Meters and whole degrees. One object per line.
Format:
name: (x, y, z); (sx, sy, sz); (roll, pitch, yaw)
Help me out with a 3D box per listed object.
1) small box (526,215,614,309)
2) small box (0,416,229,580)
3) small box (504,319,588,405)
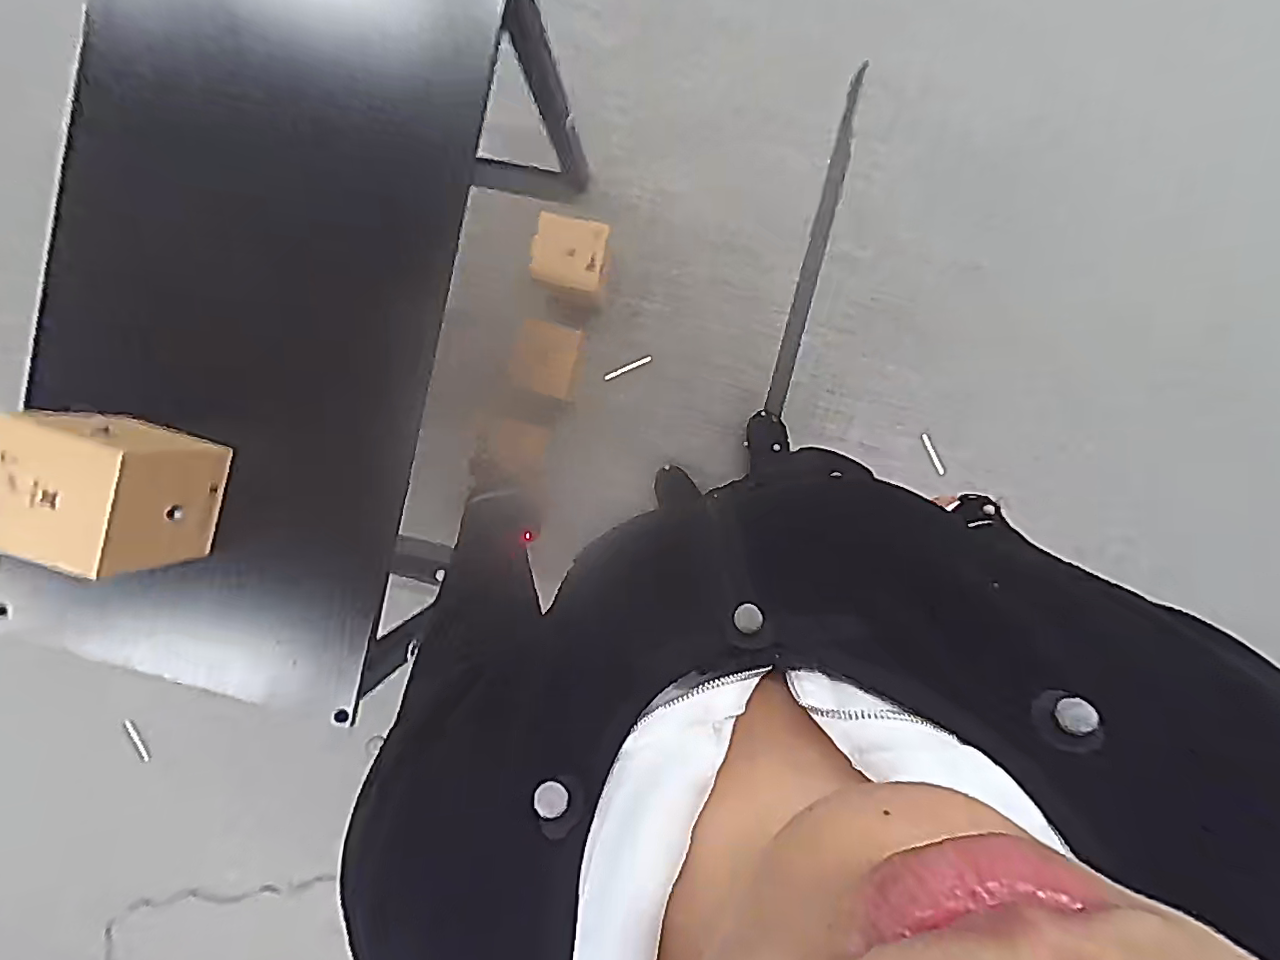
small box: (-0.175, -0.558, 1.404); (0.179, 0.176, 0.168); (13, 95, 3)
small box: (-0.717, 0.017, 0.738); (0.179, 0.176, 0.168); (16, 93, 3)
small box: (-0.239, -0.303, 1.424); (0.168, 0.176, 0.179); (13, 94, 4)
